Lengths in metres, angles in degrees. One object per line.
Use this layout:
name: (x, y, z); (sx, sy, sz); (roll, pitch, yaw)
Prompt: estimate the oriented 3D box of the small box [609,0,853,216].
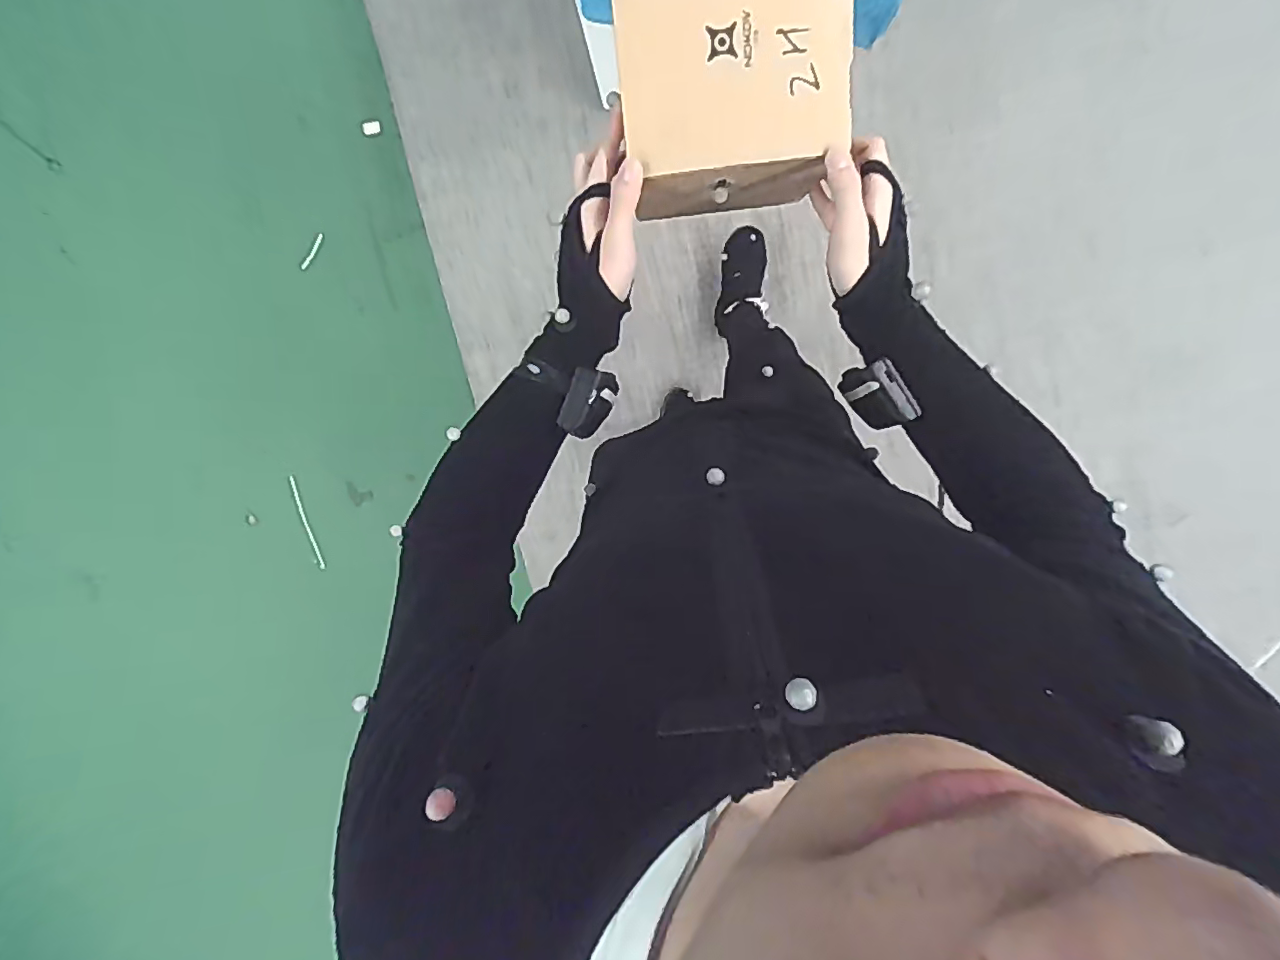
small box: (0.073, -0.344, 0.474); (0.179, 0.176, 0.168); (-5, 105, 4)
